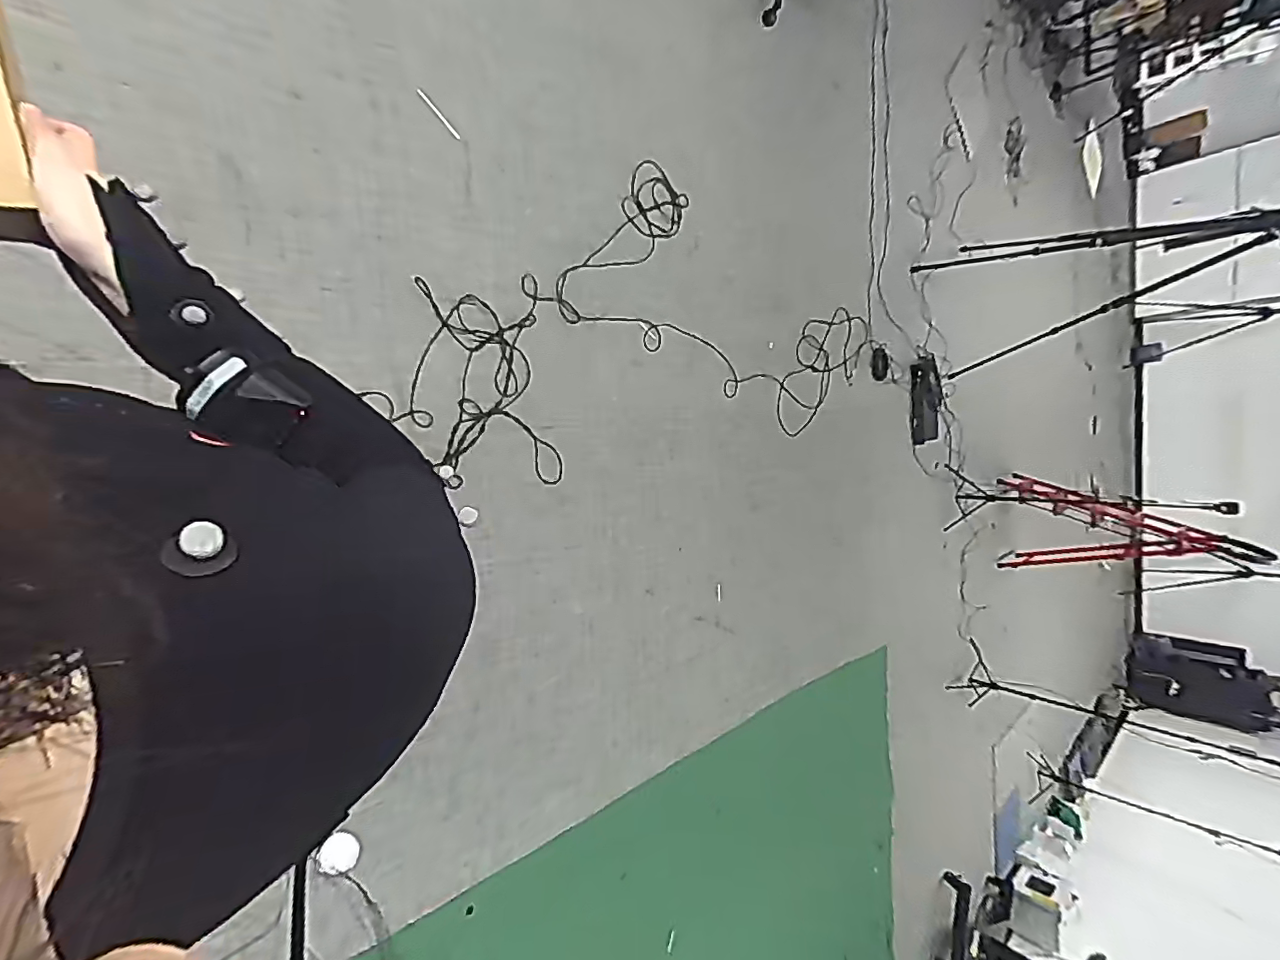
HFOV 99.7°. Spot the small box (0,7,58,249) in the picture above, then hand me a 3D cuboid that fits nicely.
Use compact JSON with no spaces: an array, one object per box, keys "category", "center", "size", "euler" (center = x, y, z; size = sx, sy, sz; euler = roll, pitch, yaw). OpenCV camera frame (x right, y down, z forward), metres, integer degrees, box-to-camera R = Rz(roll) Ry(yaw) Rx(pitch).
[{"category":"small box","center":[-0.467,-0.235,0.300],"size":[0.168,0.176,0.179],"euler":[-14,109,-41]}]
